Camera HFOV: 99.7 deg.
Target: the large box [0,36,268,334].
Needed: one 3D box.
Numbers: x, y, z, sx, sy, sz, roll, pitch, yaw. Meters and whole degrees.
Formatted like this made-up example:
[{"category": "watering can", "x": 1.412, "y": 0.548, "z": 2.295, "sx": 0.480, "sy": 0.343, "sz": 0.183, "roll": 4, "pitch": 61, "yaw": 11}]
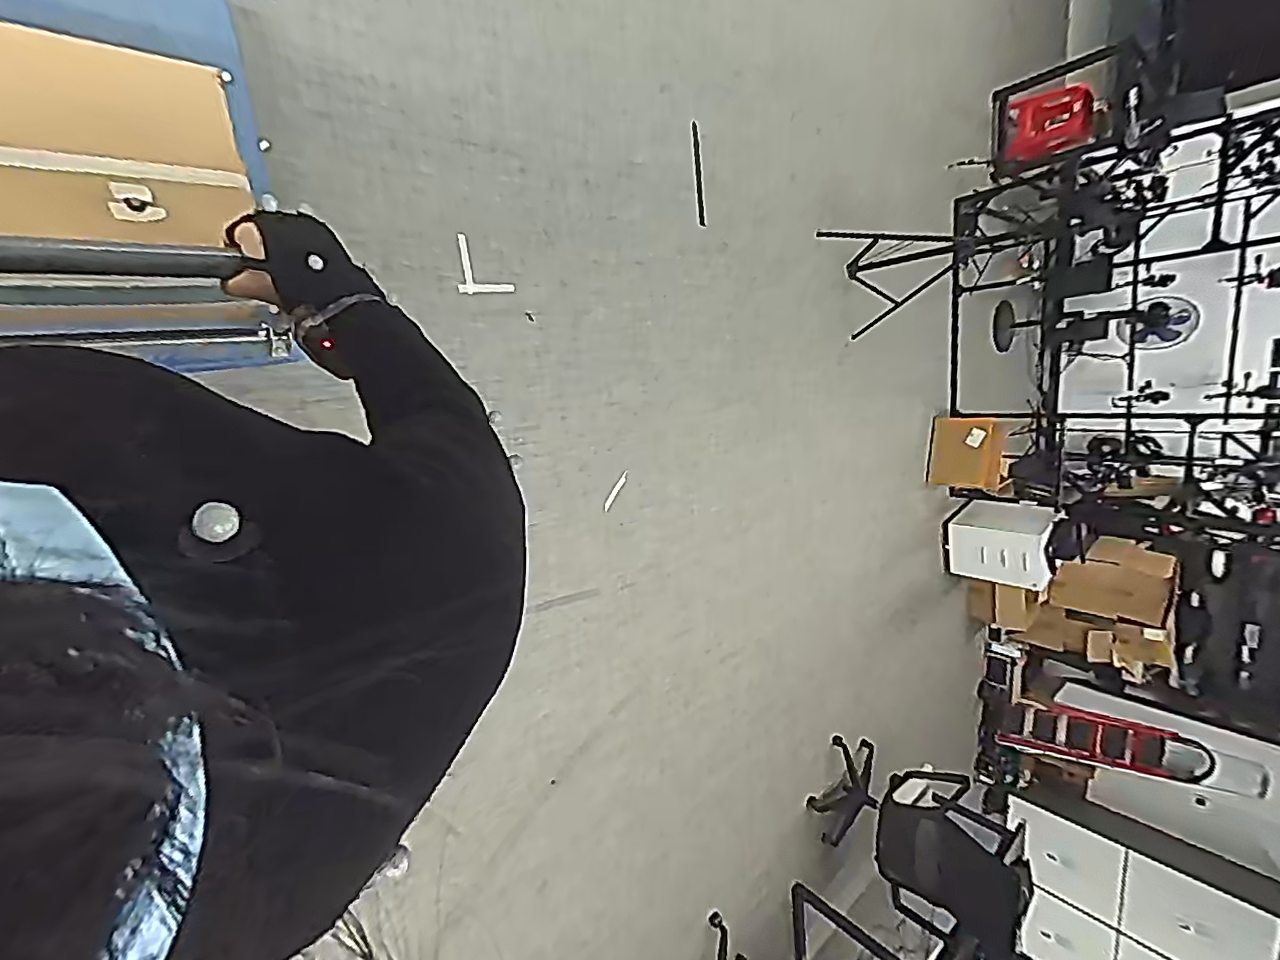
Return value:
[{"category": "large box", "x": -0.845, "y": -0.401, "z": 0.801, "sx": 0.408, "sy": 0.320, "sz": 0.320, "roll": -16, "pitch": 105, "yaw": -40}]
